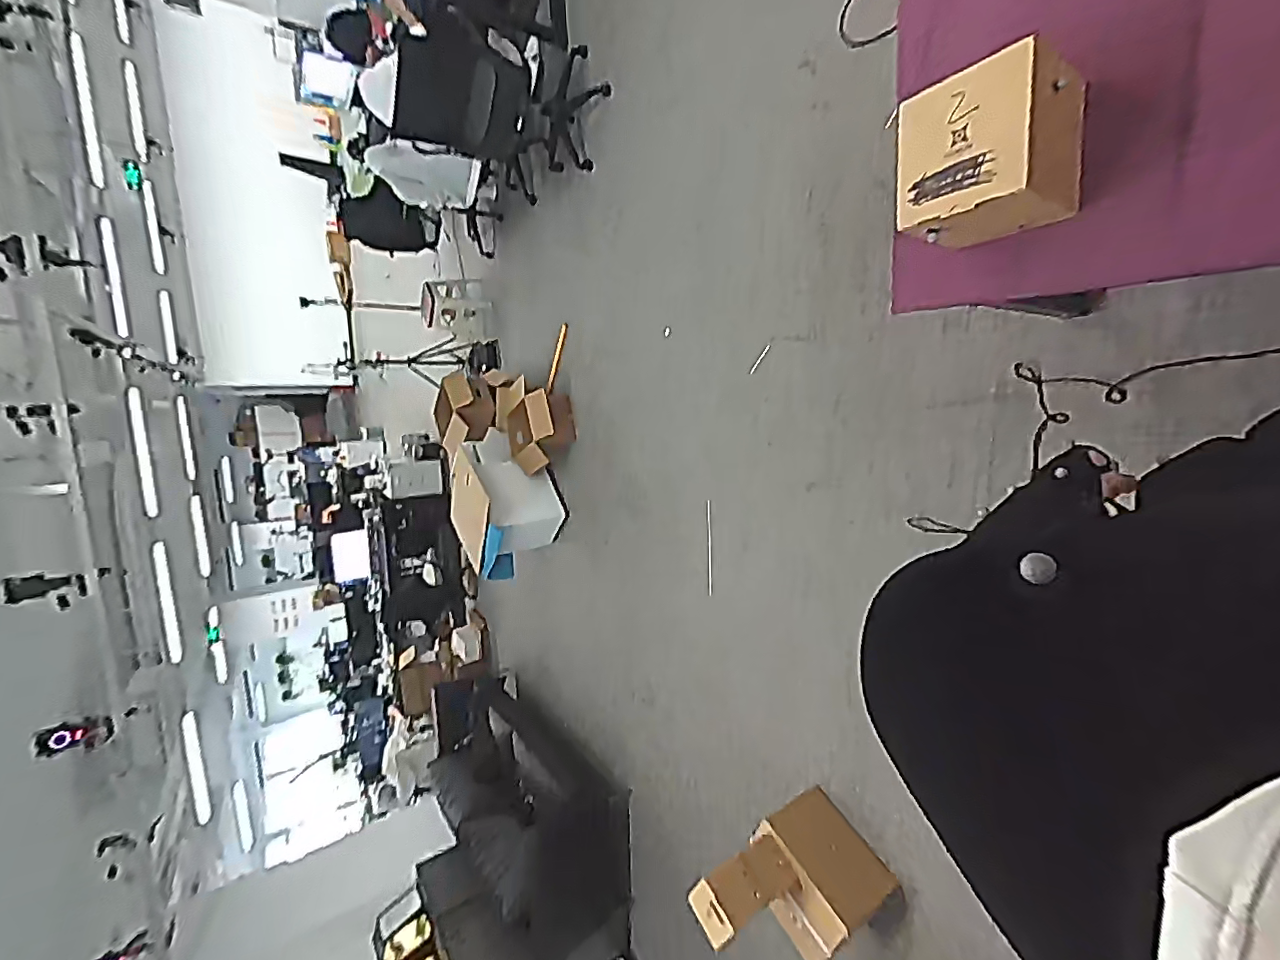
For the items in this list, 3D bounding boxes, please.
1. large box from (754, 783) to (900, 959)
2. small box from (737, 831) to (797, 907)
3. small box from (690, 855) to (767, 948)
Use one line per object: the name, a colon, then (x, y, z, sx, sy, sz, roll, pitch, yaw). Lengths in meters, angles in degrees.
large box: (0.673, 1.466, 2.042, 0.408, 0.320, 0.320, 41, 129, 42)
small box: (0.434, 1.415, 1.943, 0.168, 0.176, 0.179, 48, 131, 38)
small box: (0.305, 1.429, 1.843, 0.168, 0.176, 0.179, 48, 133, 38)
